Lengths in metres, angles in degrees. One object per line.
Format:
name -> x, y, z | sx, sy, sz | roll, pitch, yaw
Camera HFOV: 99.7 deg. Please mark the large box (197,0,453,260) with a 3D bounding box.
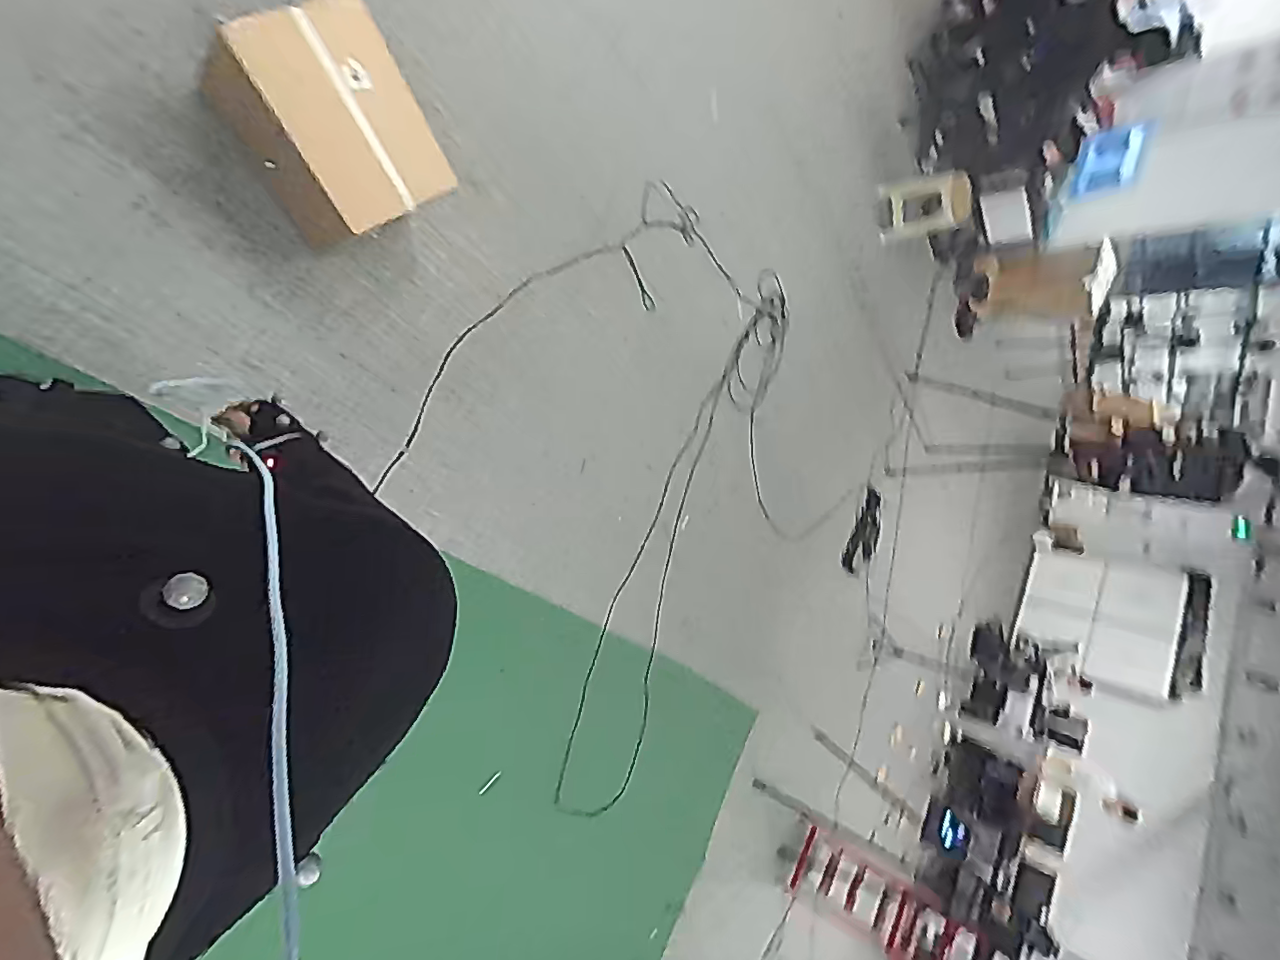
large box -> -0.741, -0.807, 1.294 | 0.320, 0.320, 0.408 | -47, 125, -29
